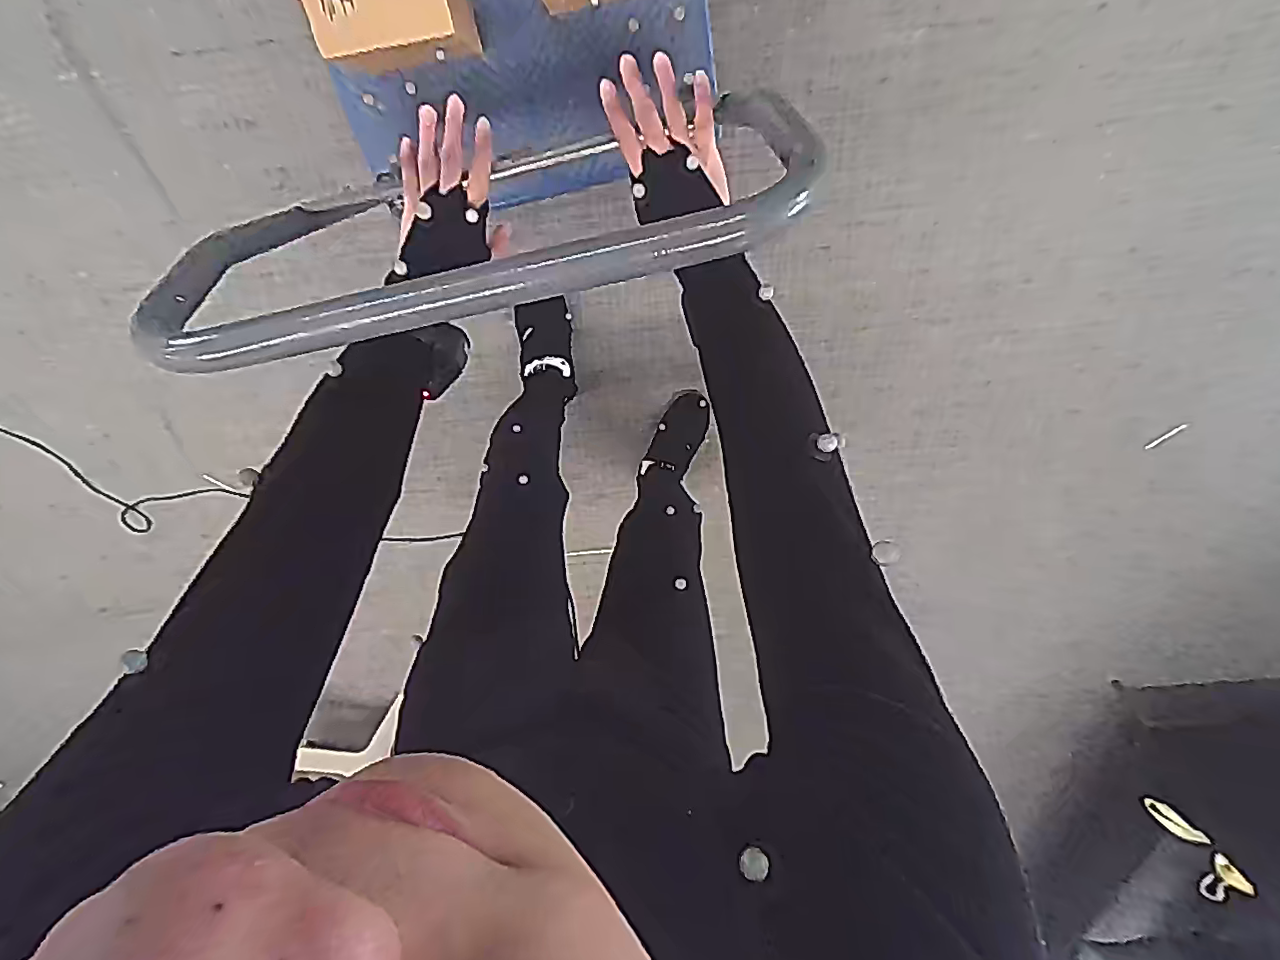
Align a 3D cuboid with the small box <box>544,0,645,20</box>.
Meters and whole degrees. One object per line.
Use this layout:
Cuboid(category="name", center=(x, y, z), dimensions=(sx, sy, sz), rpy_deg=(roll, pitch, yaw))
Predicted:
Cuboid(category="small box", center=(-0.065, -0.711, 0.668), dimensions=(0.168, 0.176, 0.179), rpy_deg=(-10, 122, 5))
